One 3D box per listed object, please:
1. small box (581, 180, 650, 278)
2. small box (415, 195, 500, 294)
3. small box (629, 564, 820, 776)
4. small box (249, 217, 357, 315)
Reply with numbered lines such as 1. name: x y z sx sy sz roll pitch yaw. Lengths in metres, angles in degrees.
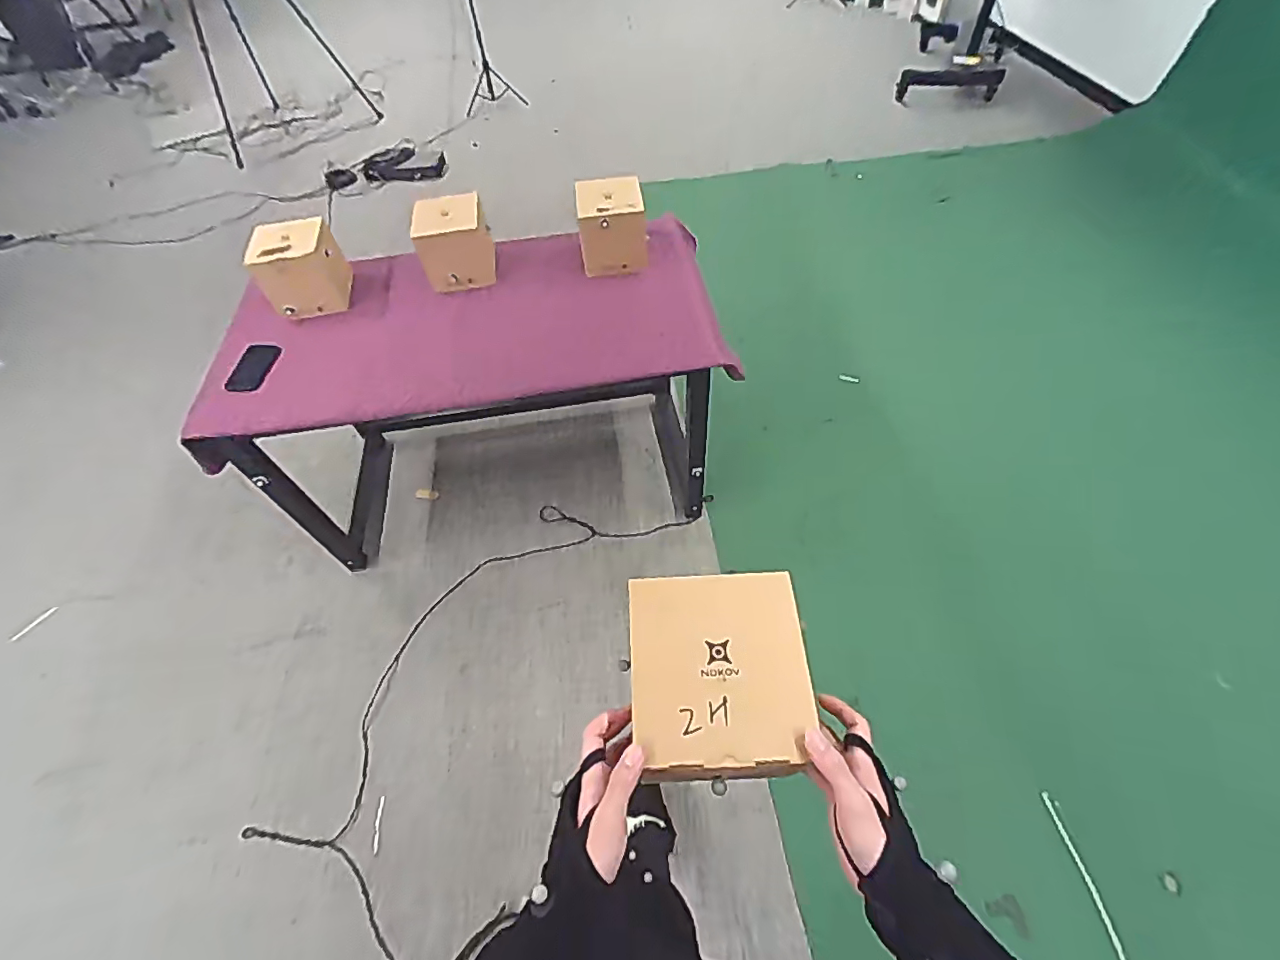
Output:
1. small box: -0.064 -0.660 1.426 0.168 0.176 0.179 -7 54 0
2. small box: -0.473 -0.619 1.424 0.168 0.176 0.179 -9 55 -2
3. small box: 0.074 0.205 0.572 0.168 0.176 0.179 -2 57 2
4. small box: -0.852 -0.541 1.389 0.168 0.176 0.179 -11 54 -5
